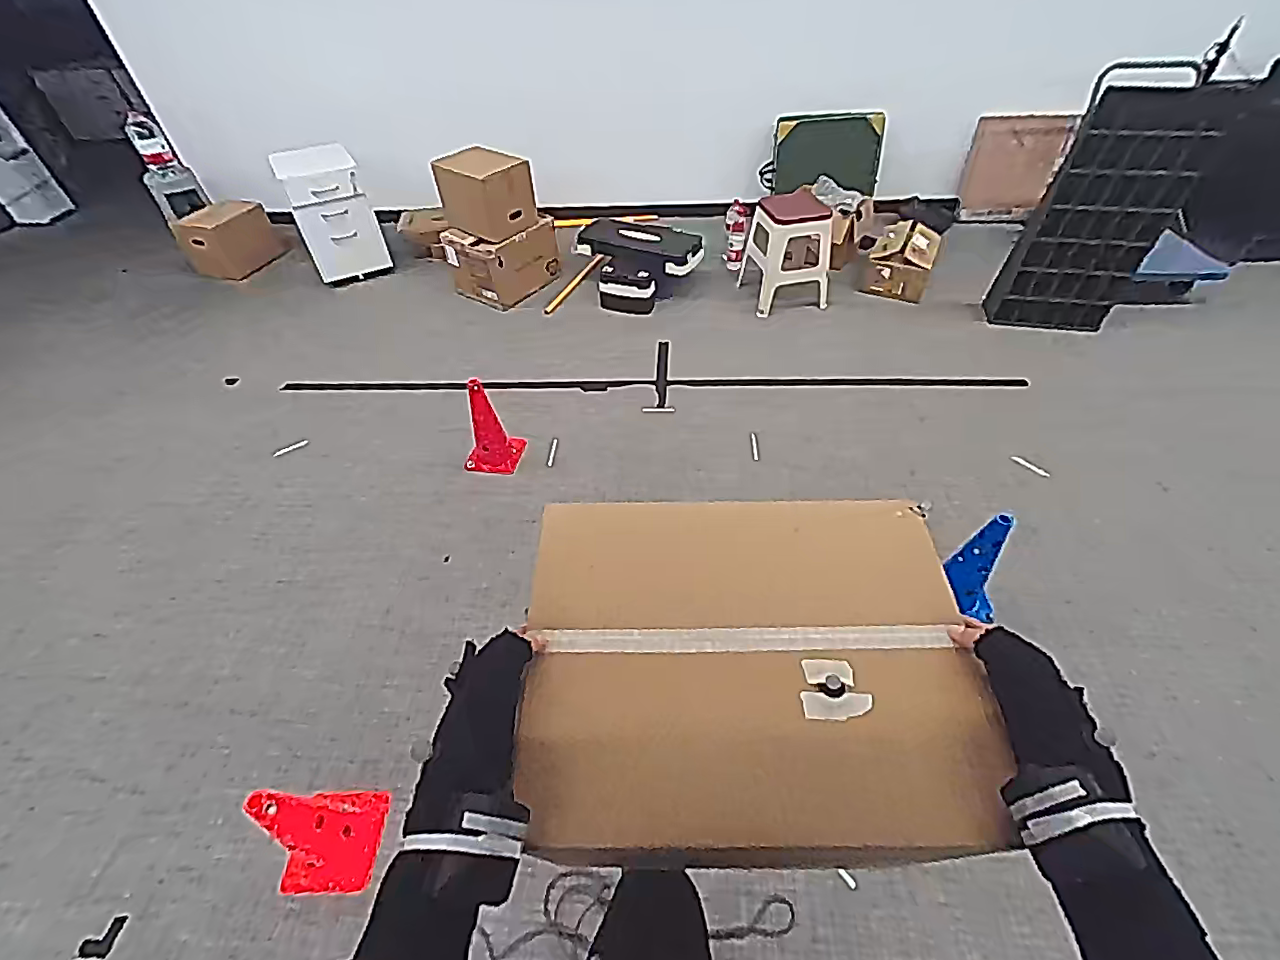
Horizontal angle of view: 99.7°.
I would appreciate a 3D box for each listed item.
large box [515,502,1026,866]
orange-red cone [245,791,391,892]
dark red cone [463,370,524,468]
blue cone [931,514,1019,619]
[{"bbox_3d":[0.098,0.240,0.620,0.408,0.320,0.320,0,52,0],"label":"large box"},{"bbox_3d":[-0.707,0.723,1.135,0.198,0.360,0.199,-2,48,2],"label":"orange-red cone"},{"bbox_3d":[-0.575,-0.235,2.005,0.201,0.394,0.202,6,47,6],"label":"dark red cone"},{"bbox_3d":[0.963,0.228,1.545,0.192,0.380,0.193,4,47,5],"label":"blue cone"}]
